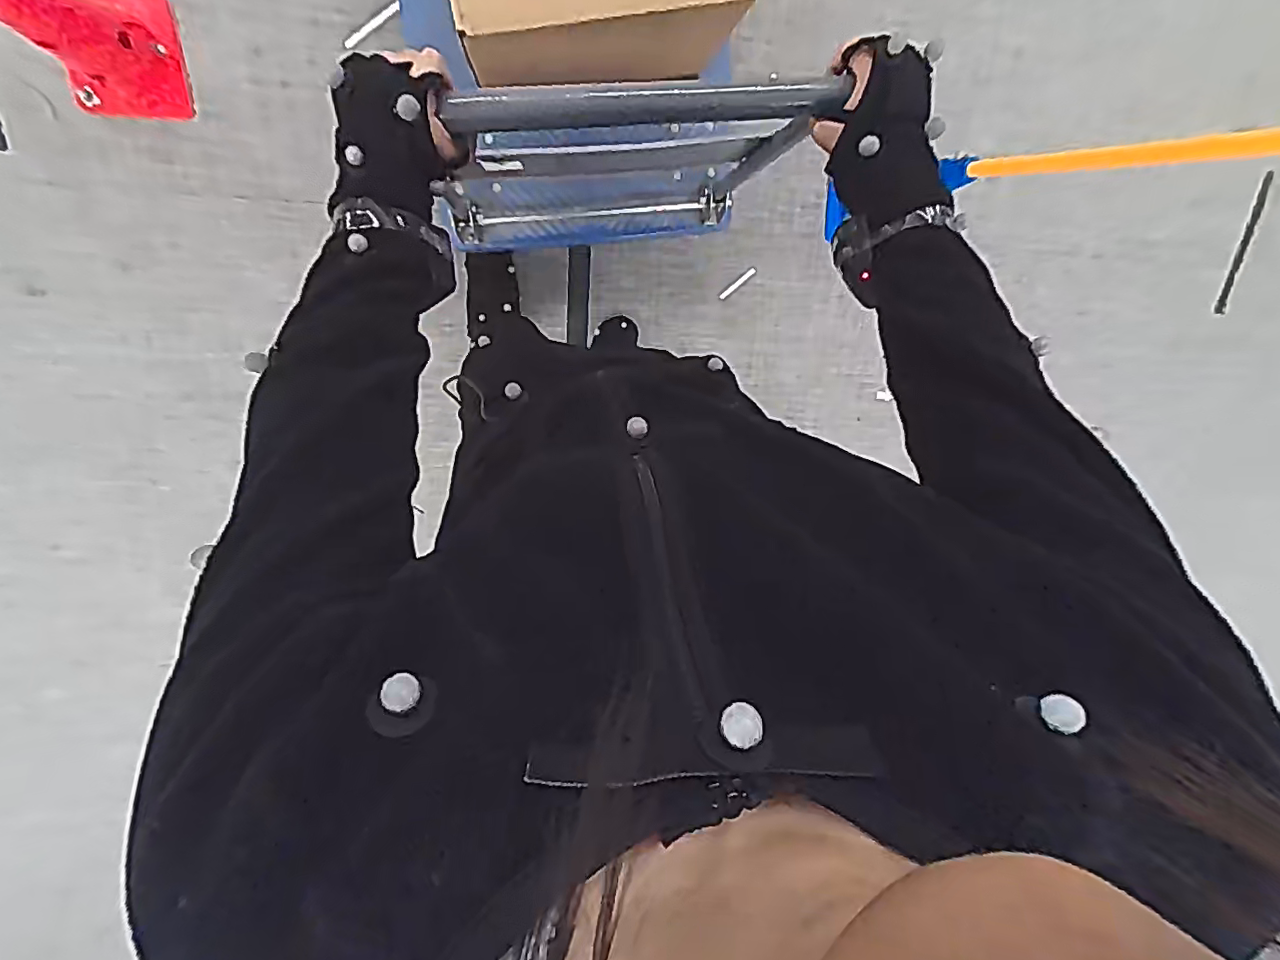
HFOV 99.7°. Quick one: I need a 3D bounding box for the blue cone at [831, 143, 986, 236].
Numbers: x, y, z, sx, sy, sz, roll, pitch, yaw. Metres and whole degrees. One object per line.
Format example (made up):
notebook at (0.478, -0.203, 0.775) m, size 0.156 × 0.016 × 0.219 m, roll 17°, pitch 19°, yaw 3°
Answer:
blue cone at (0.576, -0.635, 1.142) m, size 0.193 × 0.380 × 0.192 m, roll -4°, pitch 110°, yaw -9°
